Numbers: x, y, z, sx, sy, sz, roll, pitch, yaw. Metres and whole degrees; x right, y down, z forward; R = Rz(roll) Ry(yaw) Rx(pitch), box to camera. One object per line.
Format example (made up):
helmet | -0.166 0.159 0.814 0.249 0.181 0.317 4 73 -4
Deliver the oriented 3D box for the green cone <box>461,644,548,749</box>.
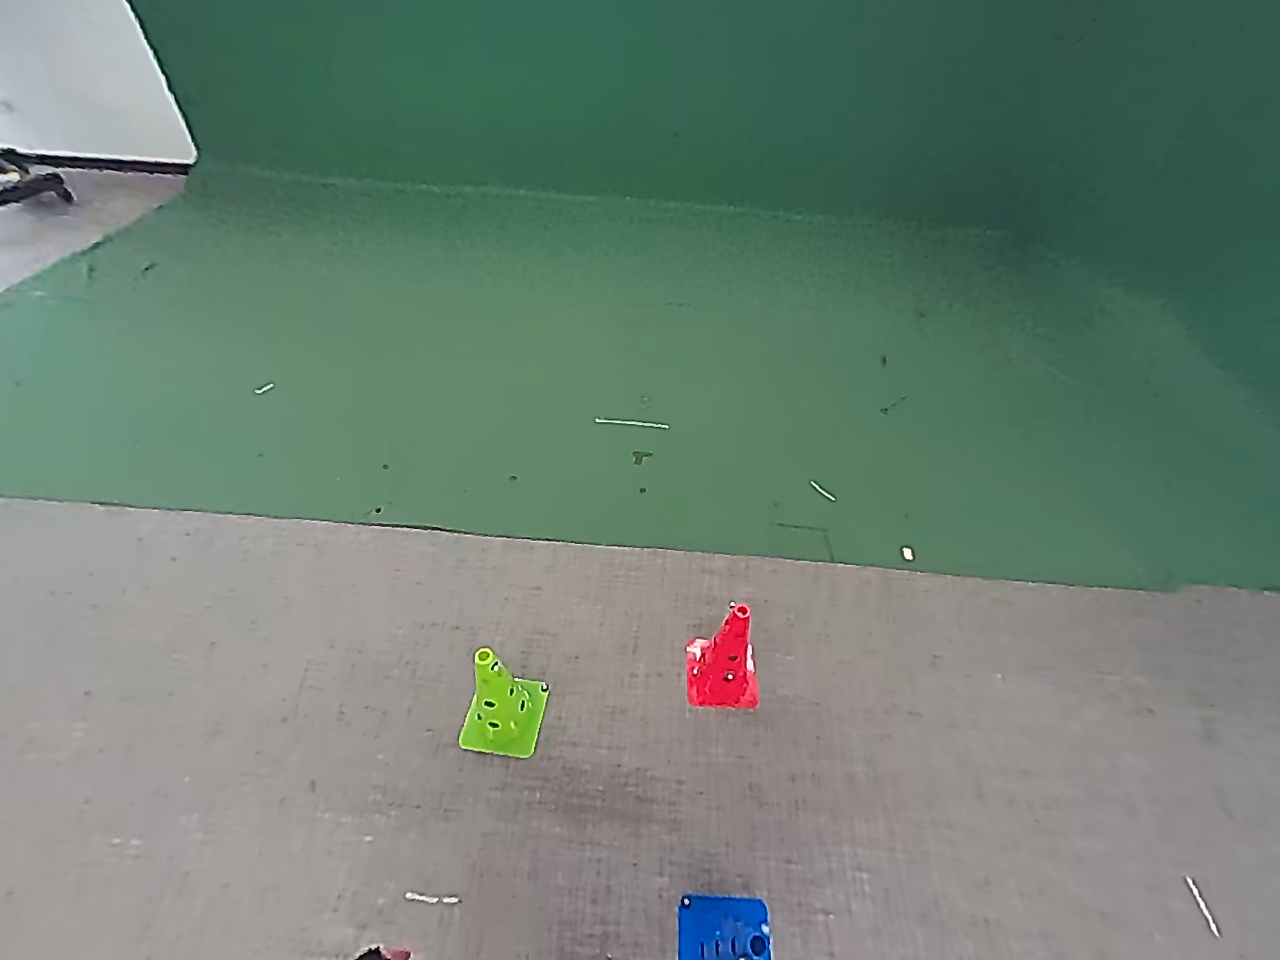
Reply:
green cone | -0.357 0.497 1.334 0.200 0.368 0.202 6 48 3
